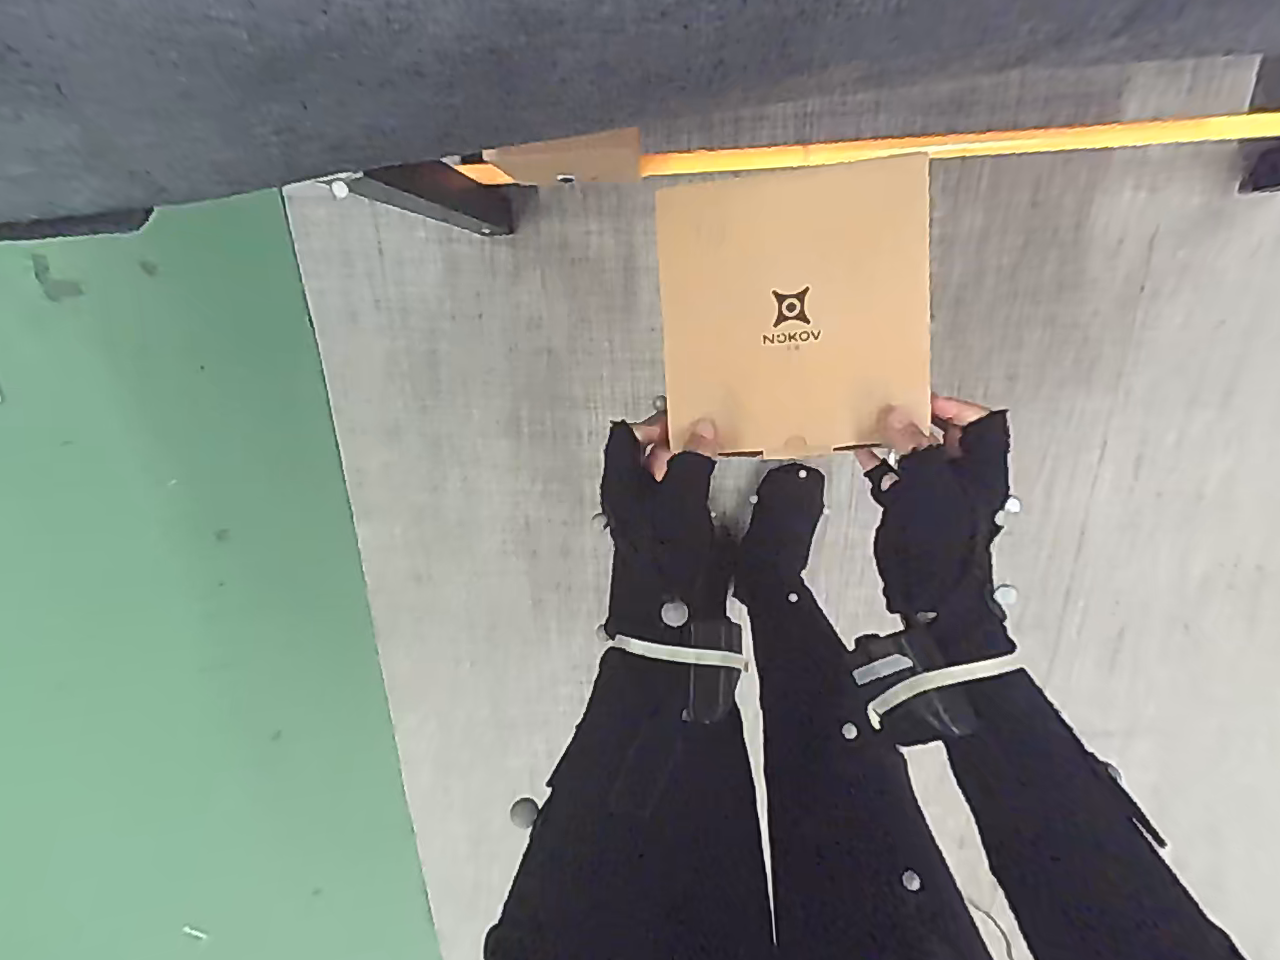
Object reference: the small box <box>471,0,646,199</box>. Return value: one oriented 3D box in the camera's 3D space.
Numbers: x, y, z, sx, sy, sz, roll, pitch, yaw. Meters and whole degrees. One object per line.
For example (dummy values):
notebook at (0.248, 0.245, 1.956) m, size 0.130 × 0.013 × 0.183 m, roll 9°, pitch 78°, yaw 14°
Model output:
small box at (-0.082, -0.447, 0.640) m, size 0.168 × 0.176 × 0.179 m, roll -1°, pitch 110°, yaw 6°
